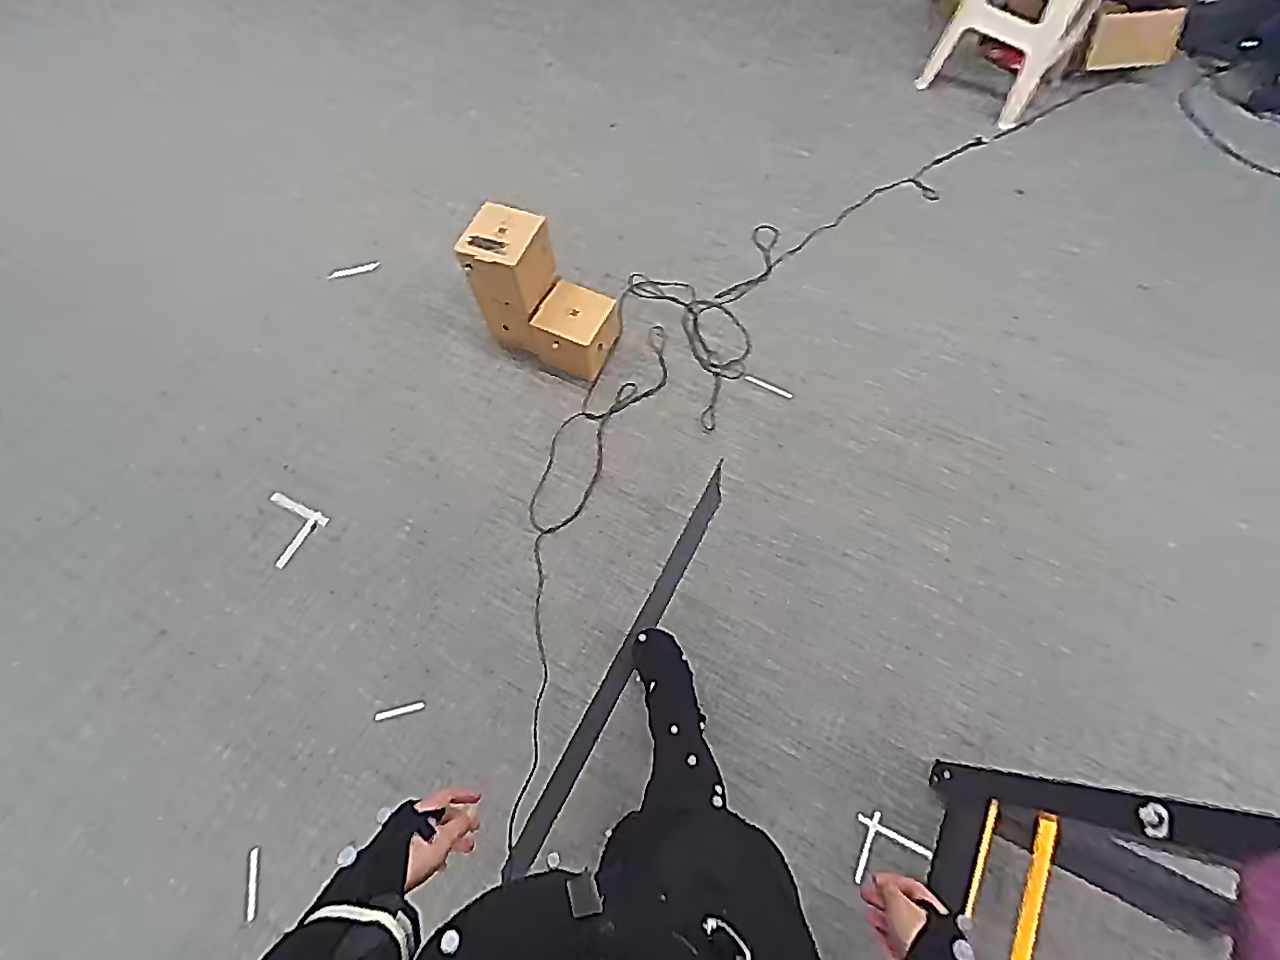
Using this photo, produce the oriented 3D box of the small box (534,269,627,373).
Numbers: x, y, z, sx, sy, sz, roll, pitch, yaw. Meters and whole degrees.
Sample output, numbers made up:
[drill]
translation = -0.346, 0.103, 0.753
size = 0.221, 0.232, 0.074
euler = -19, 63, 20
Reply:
[small box]
translation = -0.154, -0.417, 1.419
size = 0.179, 0.176, 0.168
euler = -37, 85, -3
